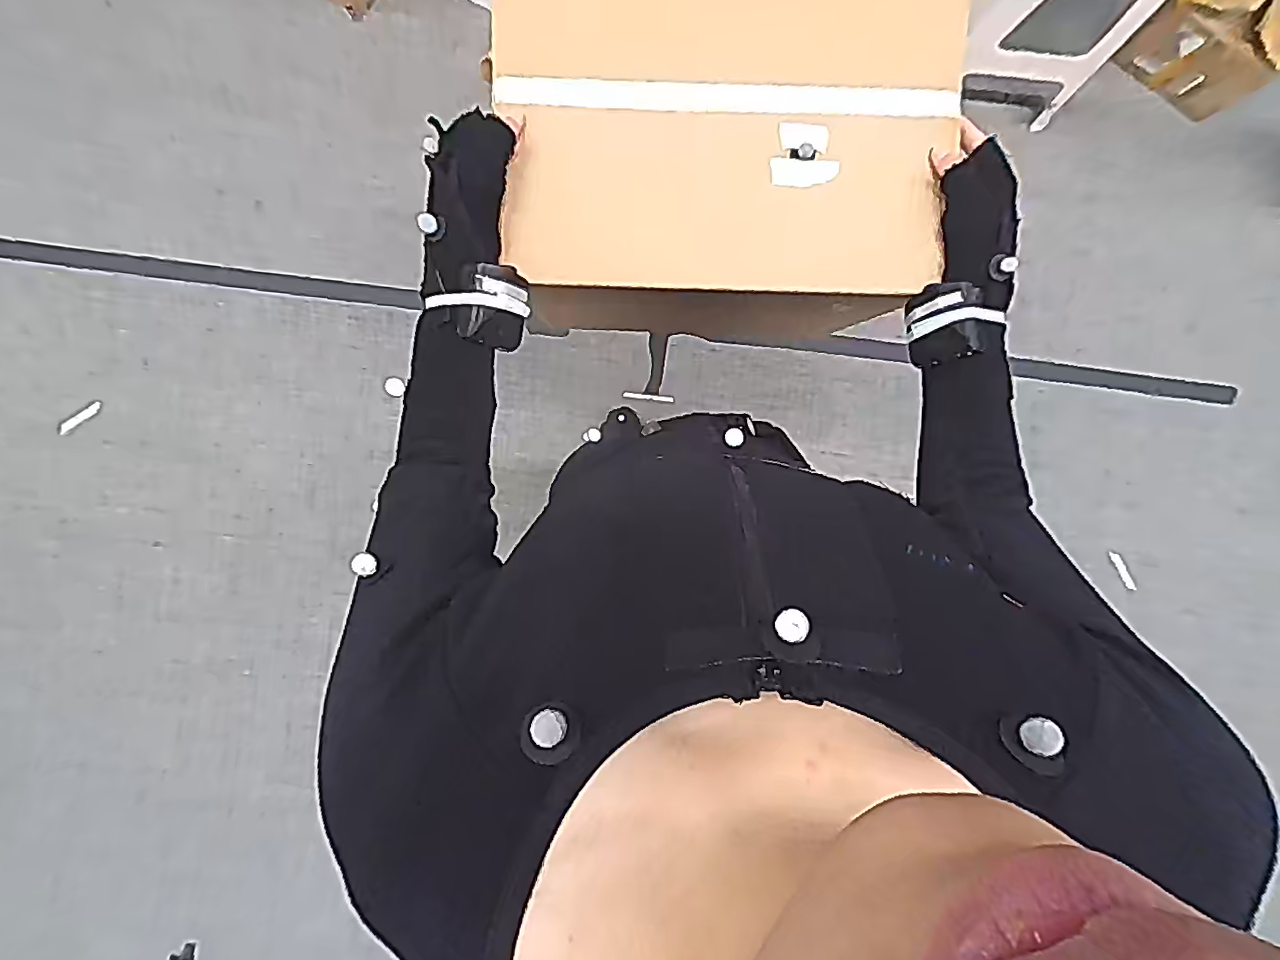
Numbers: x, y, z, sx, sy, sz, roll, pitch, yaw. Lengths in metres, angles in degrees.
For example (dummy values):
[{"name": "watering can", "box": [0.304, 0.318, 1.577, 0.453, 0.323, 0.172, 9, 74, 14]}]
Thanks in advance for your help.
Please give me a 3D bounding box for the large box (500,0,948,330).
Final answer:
[{"name": "large box", "box": [0.070, -0.356, 0.636, 0.408, 0.320, 0.320, 1, 99, -2]}]
